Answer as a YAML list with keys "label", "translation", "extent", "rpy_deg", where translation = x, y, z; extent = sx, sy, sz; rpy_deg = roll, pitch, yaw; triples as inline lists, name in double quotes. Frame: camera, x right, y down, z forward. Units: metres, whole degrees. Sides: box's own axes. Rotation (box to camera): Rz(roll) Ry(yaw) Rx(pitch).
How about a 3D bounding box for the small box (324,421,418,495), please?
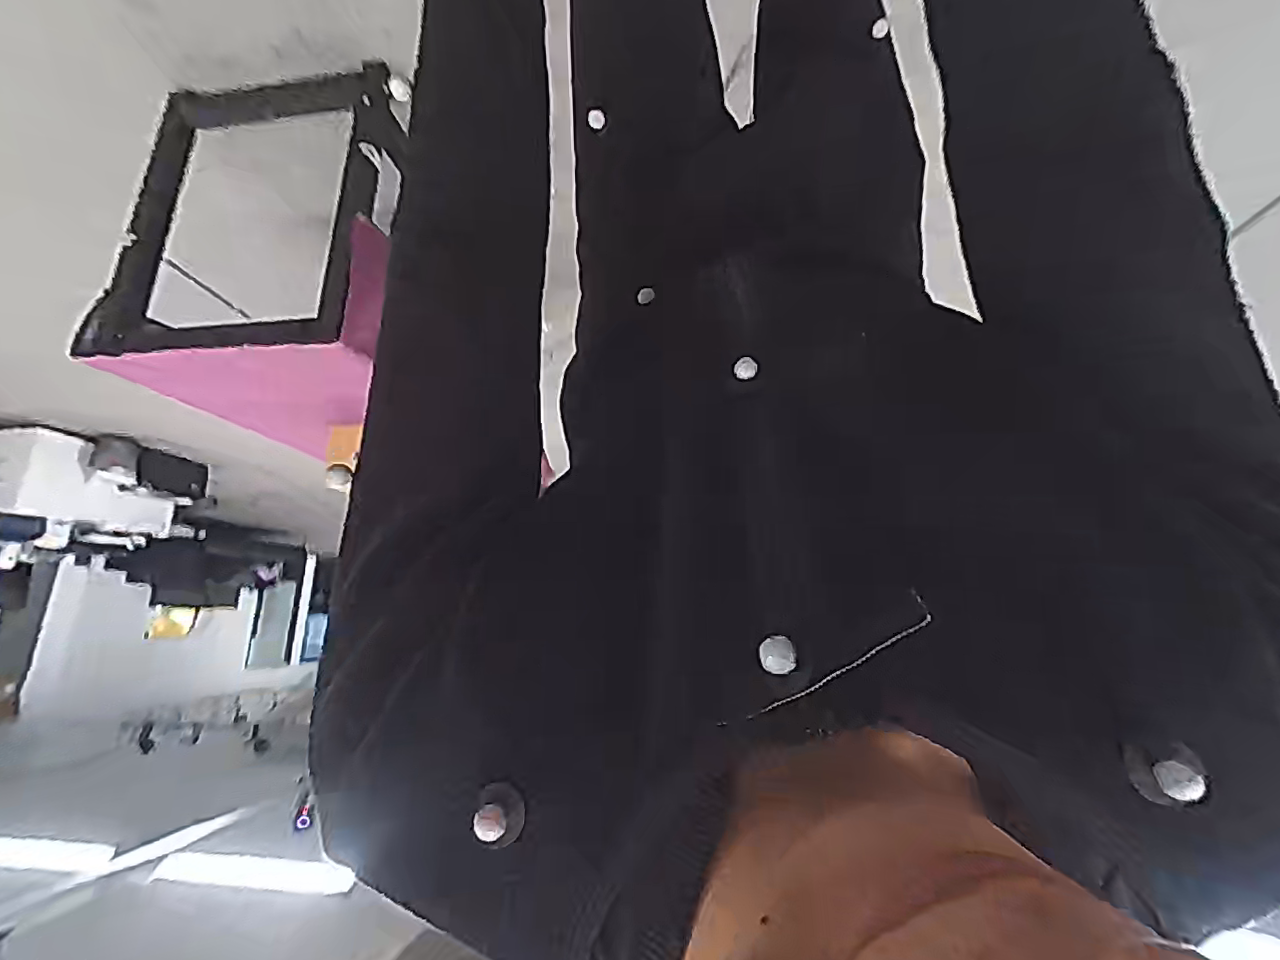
- label: "small box"
  translation: [-0.763, -0.061, 1.551]
  extent: [0.179, 0.176, 0.168]
  rpy_deg: [-4, 165, 12]
